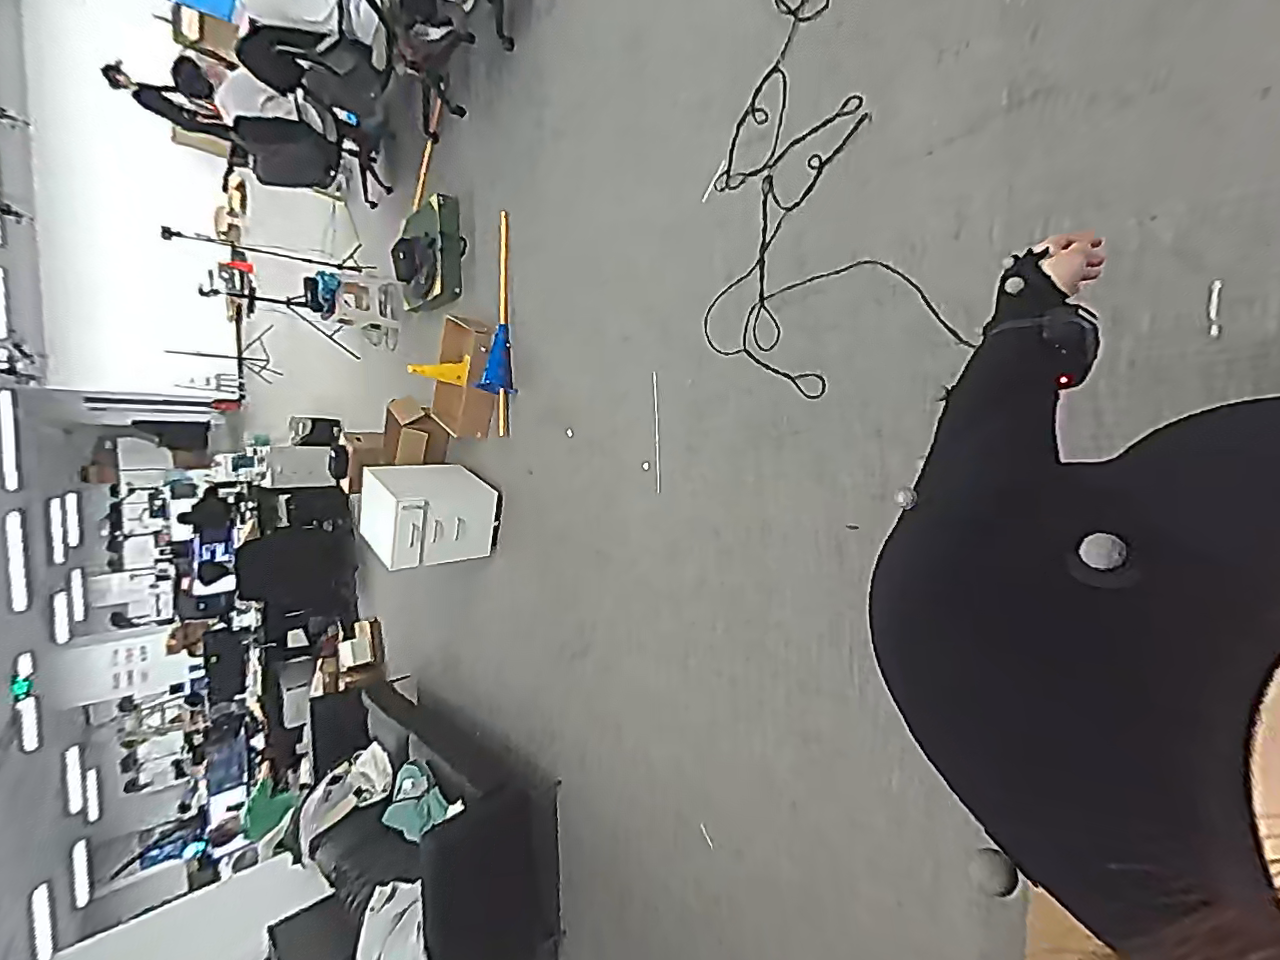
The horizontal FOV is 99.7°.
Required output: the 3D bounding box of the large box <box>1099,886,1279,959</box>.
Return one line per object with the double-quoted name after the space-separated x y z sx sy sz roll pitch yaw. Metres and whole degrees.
1.063 1.021 0.921 0.408 0.320 0.320 0 92 48 "large box"
